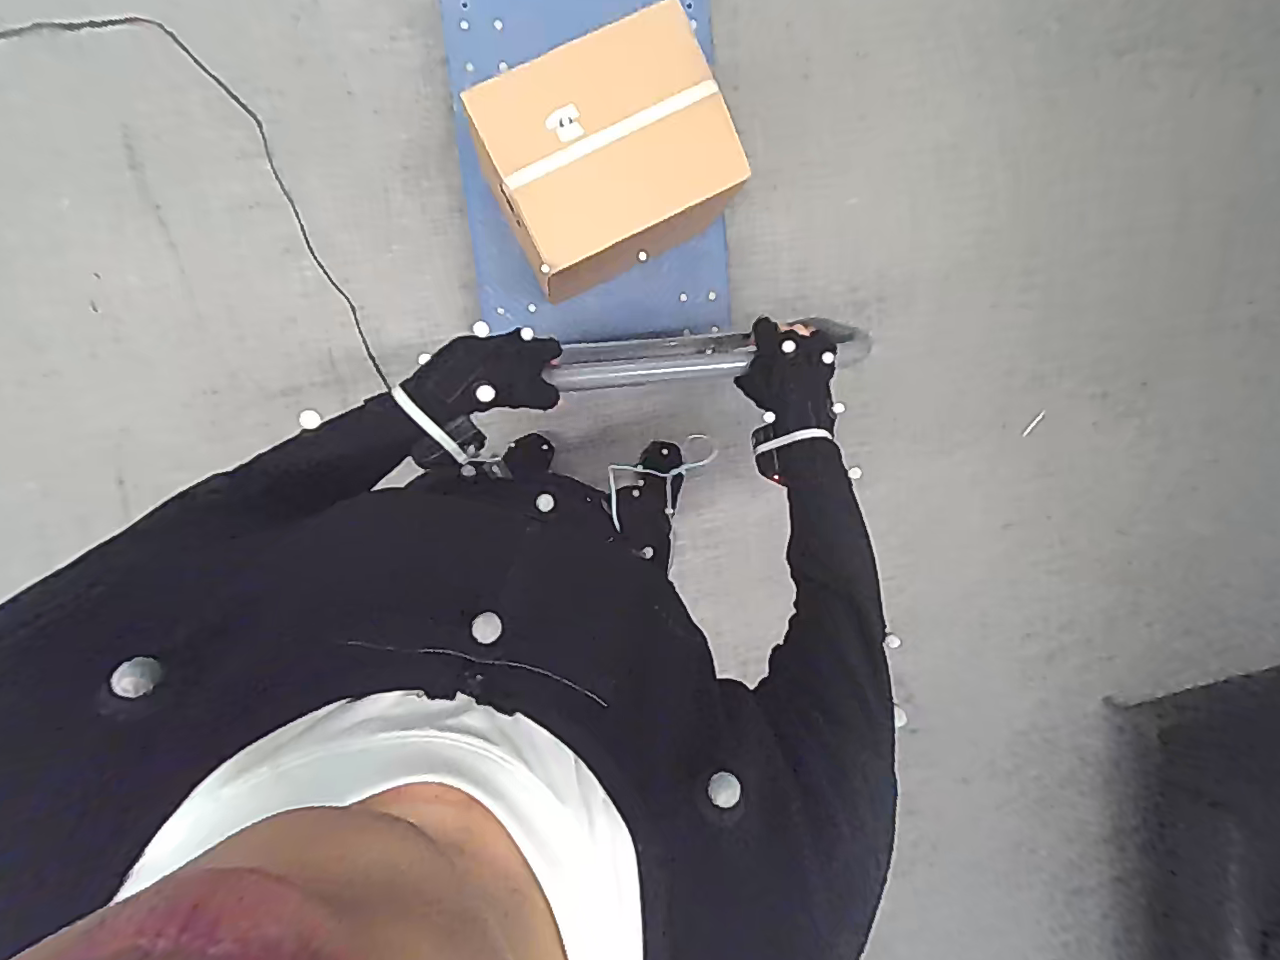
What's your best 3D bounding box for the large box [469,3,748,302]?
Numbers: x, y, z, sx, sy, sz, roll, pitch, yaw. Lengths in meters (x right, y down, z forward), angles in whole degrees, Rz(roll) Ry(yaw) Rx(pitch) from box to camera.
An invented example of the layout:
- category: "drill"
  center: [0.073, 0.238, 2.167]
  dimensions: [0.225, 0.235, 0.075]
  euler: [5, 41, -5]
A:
- category: "large box"
  center: [-0.063, -0.603, 1.073]
  dimensions: [0.408, 0.320, 0.320]
  euler: [-28, 100, -3]
